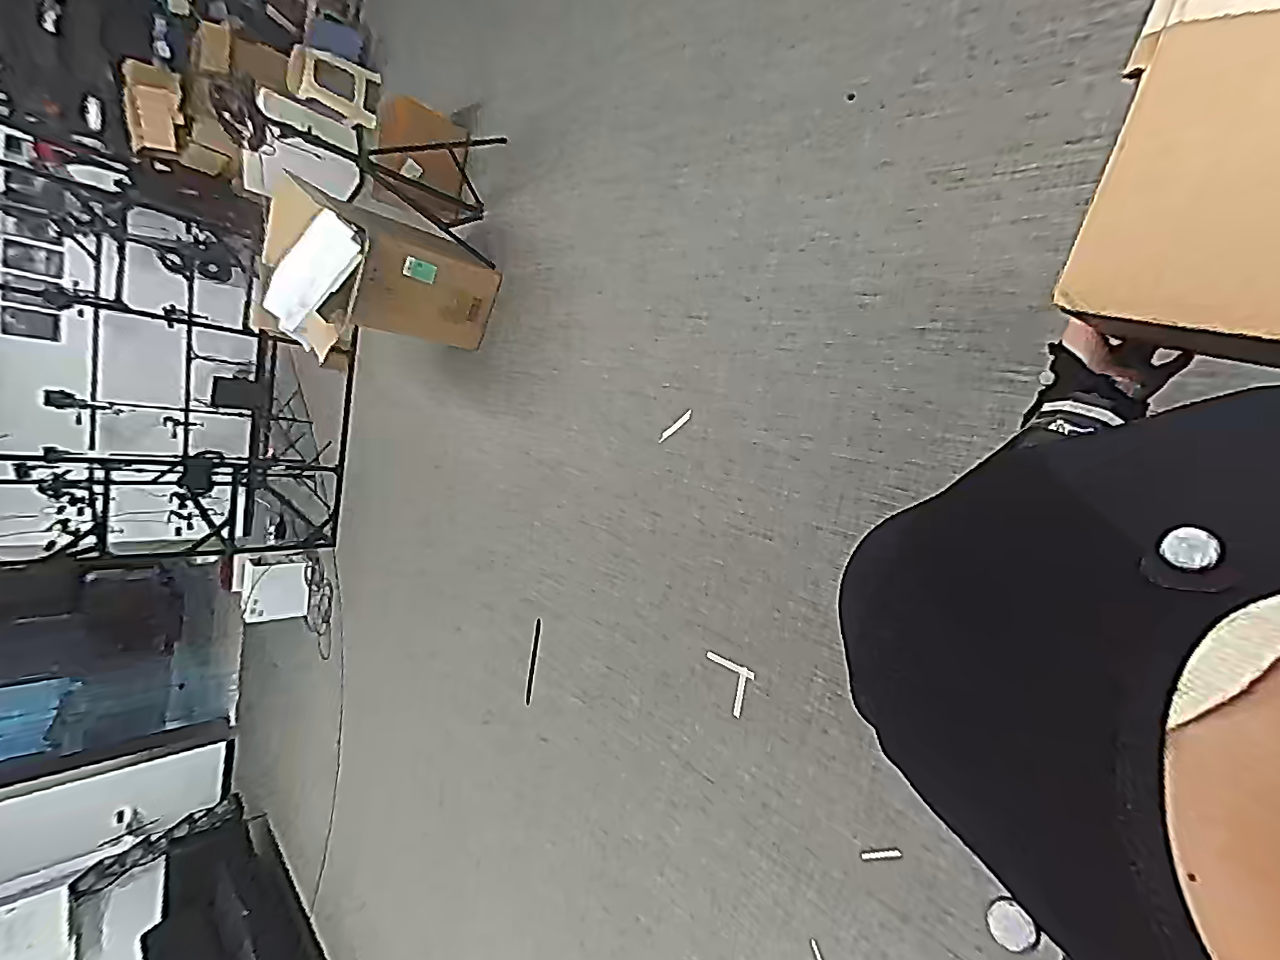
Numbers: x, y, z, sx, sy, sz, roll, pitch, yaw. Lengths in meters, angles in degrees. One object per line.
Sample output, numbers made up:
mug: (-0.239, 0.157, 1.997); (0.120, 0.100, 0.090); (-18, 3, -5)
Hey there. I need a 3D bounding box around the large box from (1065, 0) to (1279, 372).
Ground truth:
large box: (0.528, -0.195, 0.268); (0.408, 0.320, 0.320); (28, 116, 40)
